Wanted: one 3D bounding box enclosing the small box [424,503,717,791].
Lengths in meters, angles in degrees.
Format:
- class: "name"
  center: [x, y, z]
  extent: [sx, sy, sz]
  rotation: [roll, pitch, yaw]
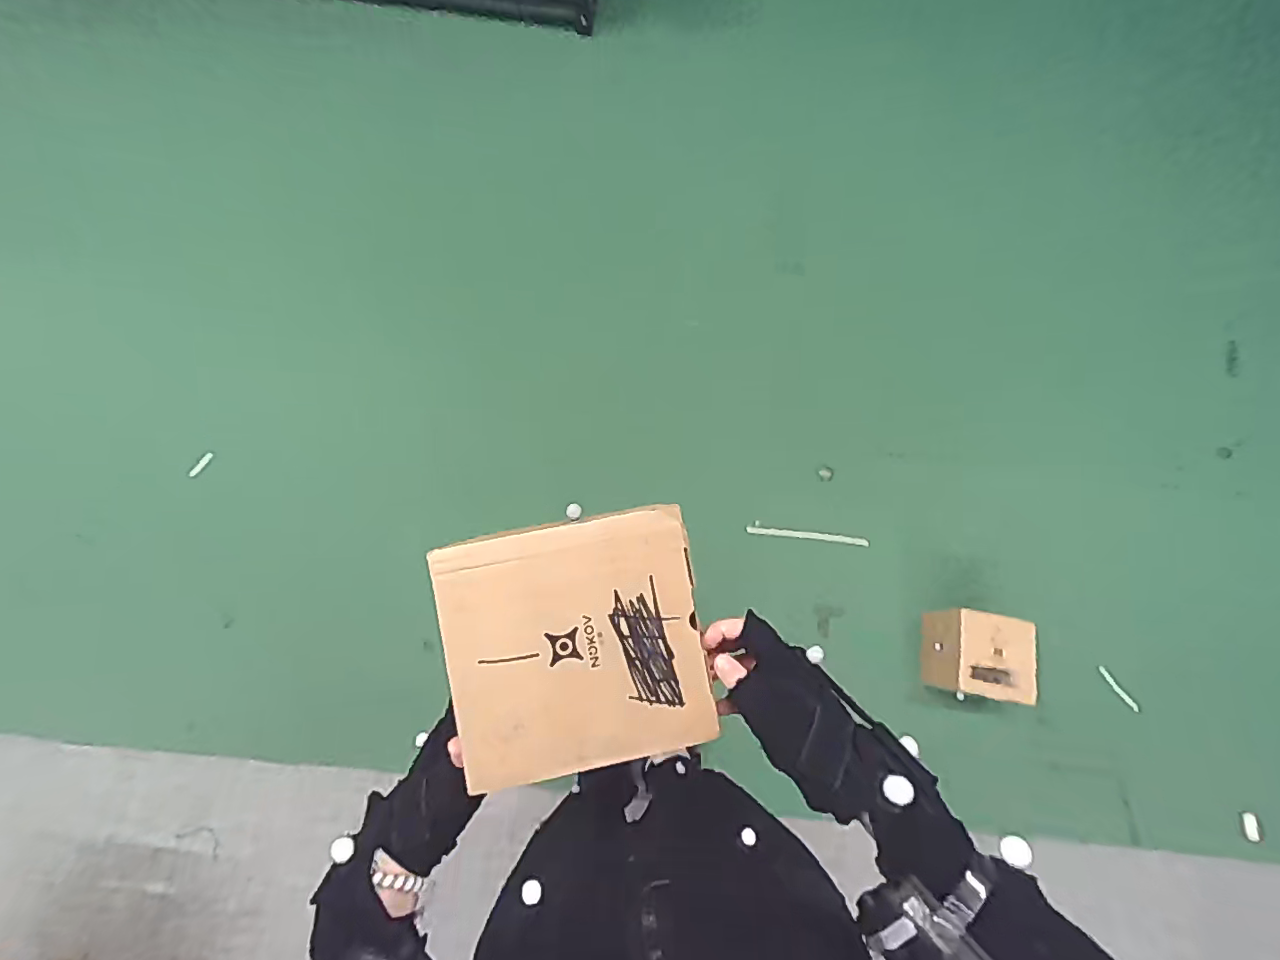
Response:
- class: "small box"
  center: [-0.052, 0.111, 0.440]
  extent: [0.179, 0.176, 0.168]
  rotation: [-10, 88, -5]
